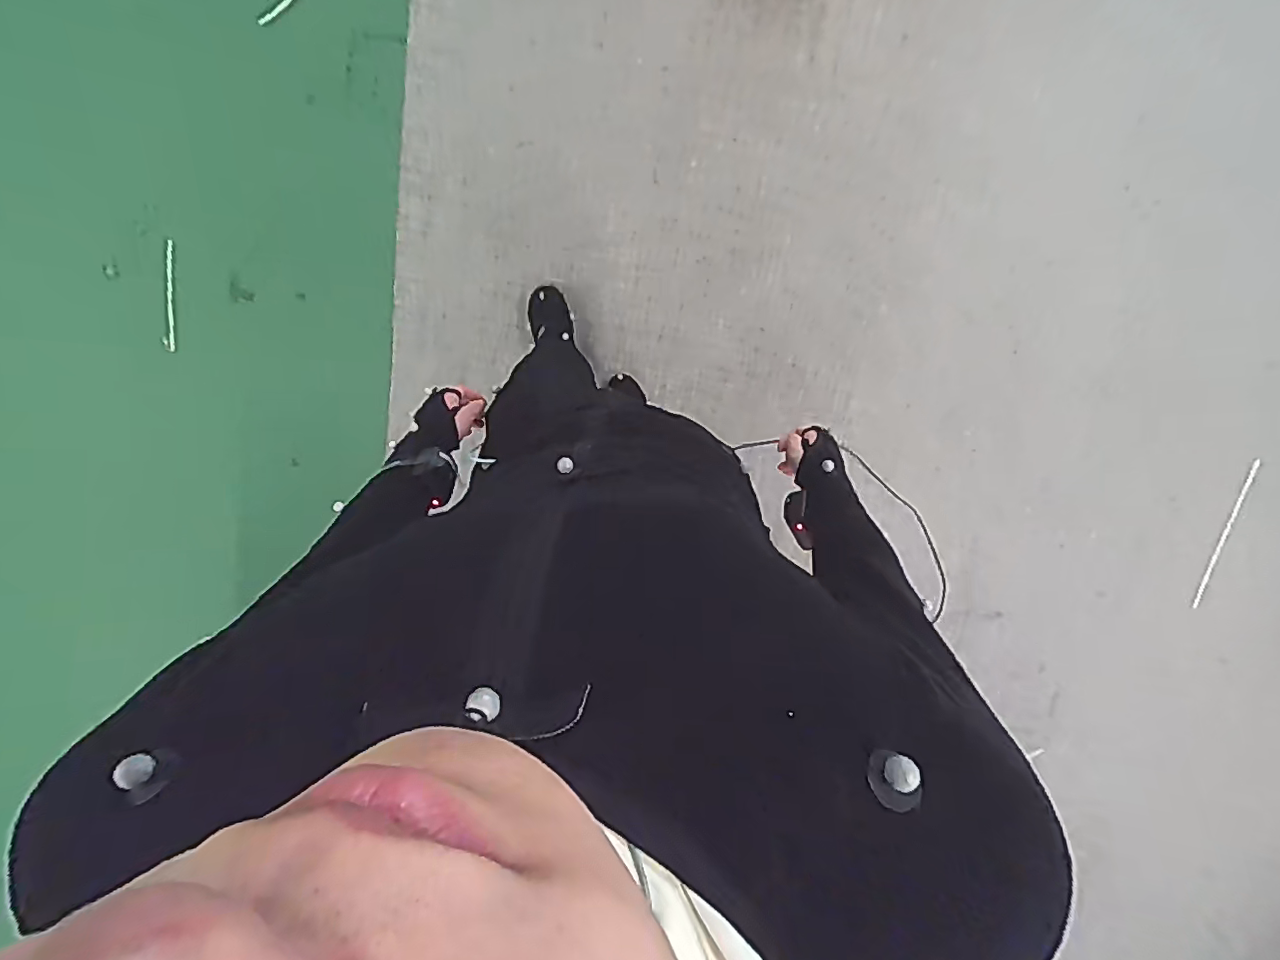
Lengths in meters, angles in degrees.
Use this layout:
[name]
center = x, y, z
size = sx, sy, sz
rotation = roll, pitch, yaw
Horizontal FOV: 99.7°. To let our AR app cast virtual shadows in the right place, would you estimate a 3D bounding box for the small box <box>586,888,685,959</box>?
[small box]
center = -0.012, 0.910, 1.012
size = 0.179, 0.176, 0.168
rotation = 5, 103, 1
